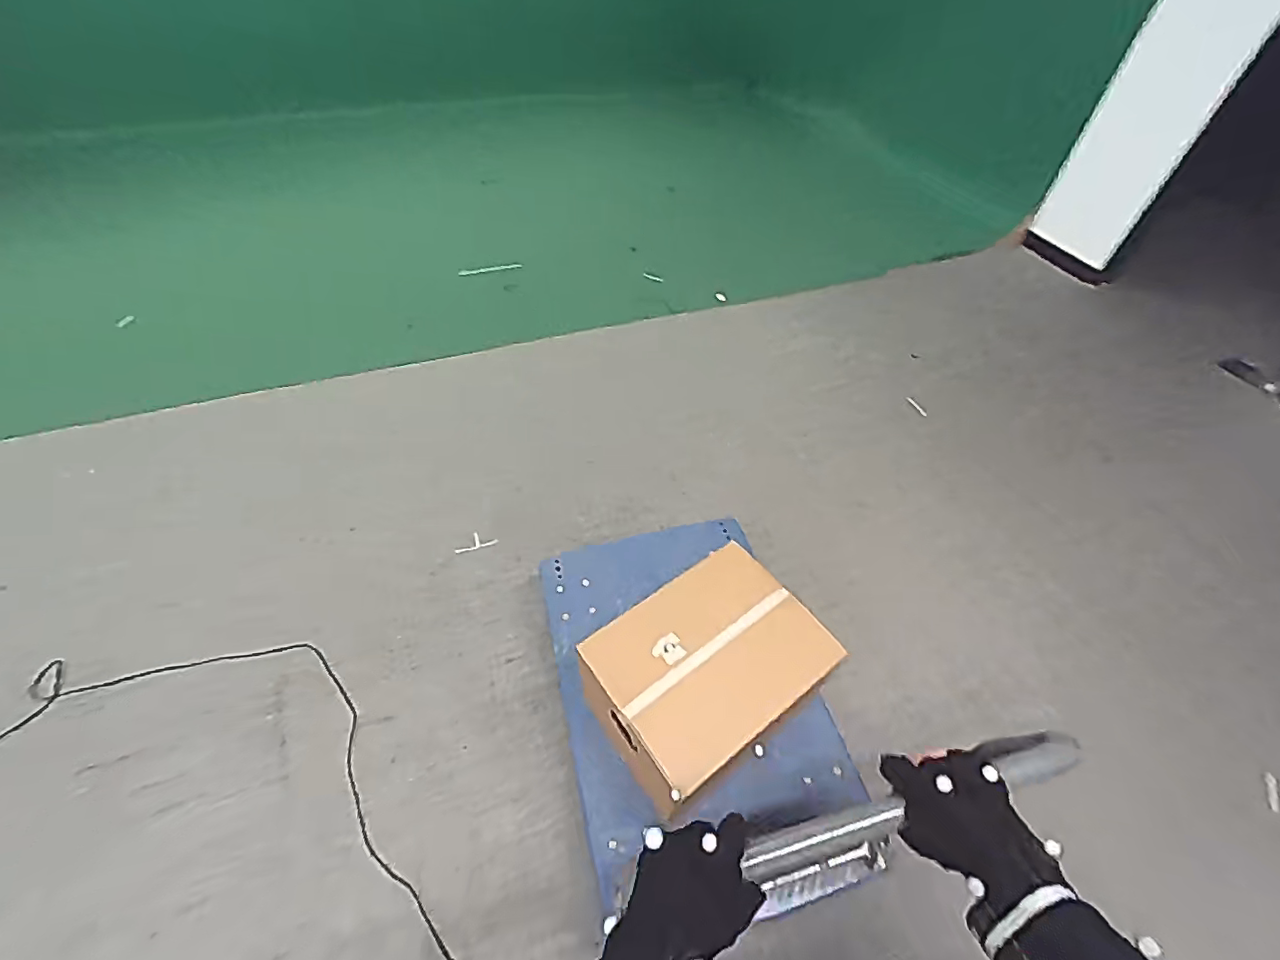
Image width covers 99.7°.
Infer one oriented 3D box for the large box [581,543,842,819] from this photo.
[{"bbox_3d":[0.132,0.409,1.119,0.408,0.320,0.320,-29,57,-22],"label":"large box"}]
